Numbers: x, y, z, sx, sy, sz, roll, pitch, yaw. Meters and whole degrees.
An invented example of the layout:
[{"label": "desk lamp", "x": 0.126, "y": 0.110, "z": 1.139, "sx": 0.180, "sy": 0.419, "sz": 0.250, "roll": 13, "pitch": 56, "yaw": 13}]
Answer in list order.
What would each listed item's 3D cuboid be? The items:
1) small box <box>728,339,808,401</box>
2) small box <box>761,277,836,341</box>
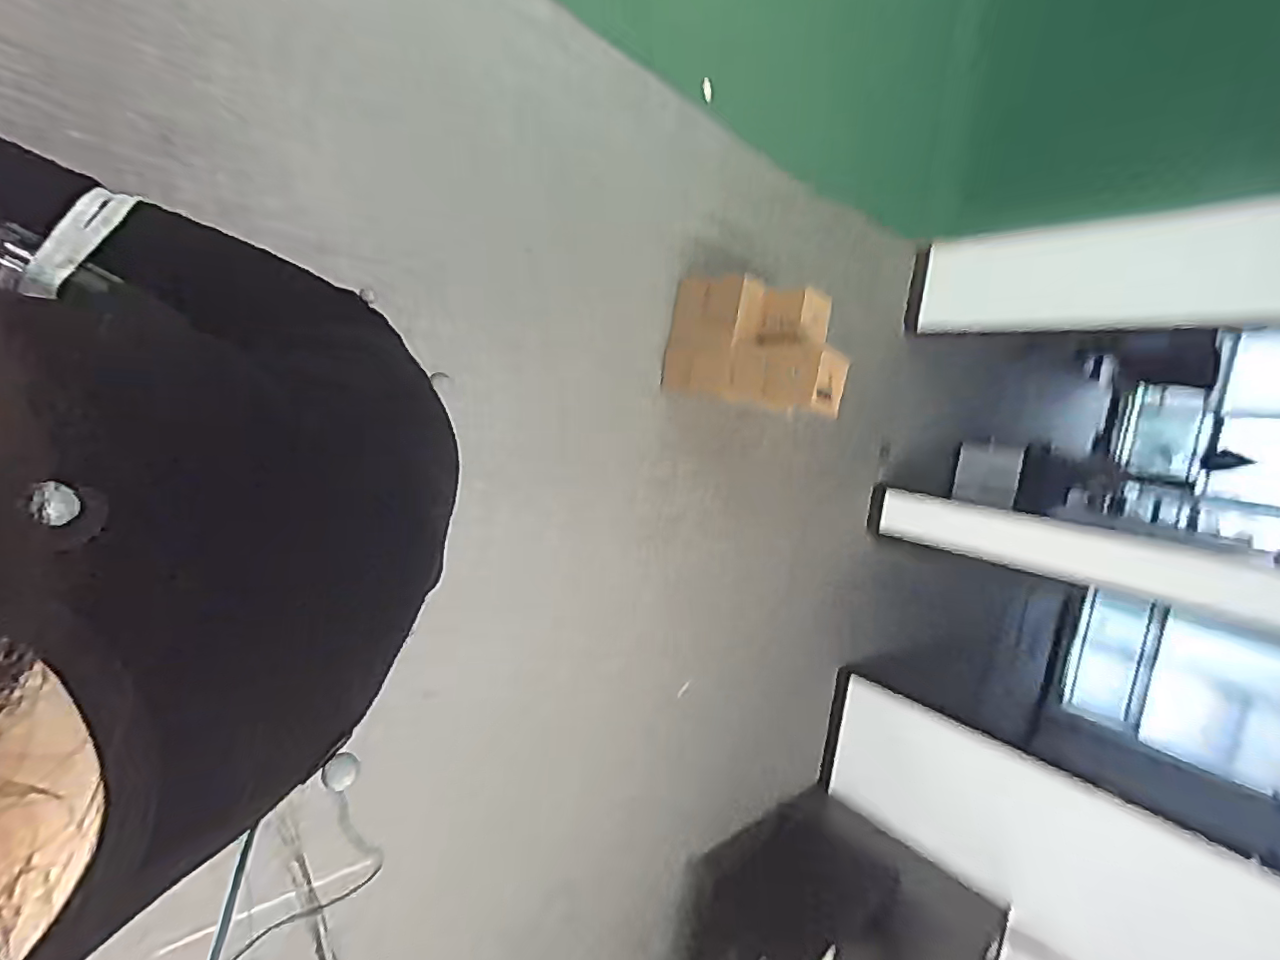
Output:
[{"label": "small box", "x": 0.421, "y": -0.365, "z": 1.785, "sx": 0.179, "sy": 0.176, "sz": 0.168, "roll": 7, "pitch": 96, "yaw": -44}, {"label": "small box", "x": 0.536, "y": -0.574, "z": 1.840, "sx": 0.179, "sy": 0.176, "sz": 0.168, "roll": 4, "pitch": 98, "yaw": -44}]
